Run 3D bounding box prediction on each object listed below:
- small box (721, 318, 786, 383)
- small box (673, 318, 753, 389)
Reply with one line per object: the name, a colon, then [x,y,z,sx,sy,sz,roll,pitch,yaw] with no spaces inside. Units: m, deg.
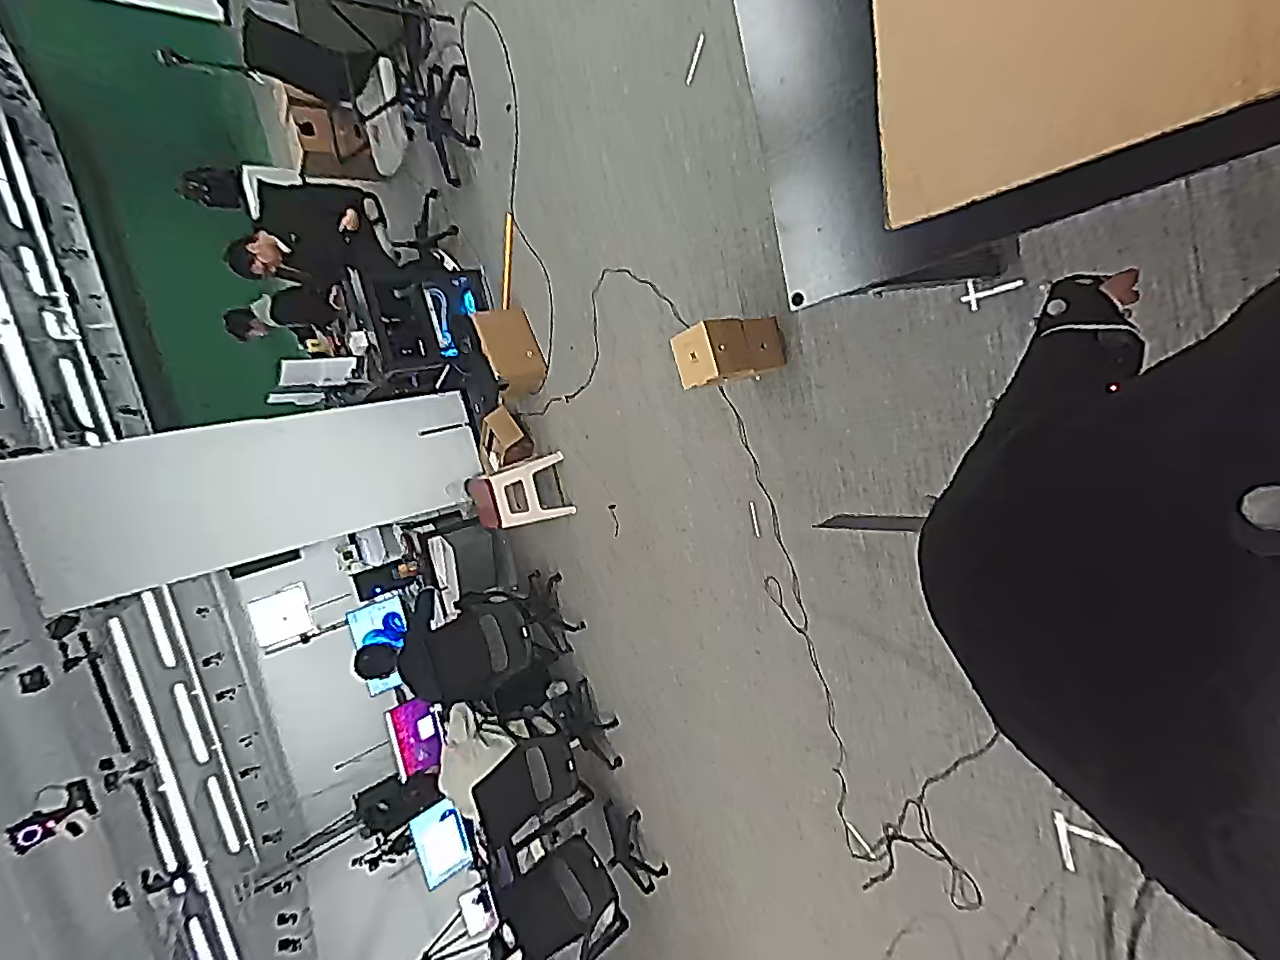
small box: [0.366,-0.441,1.828,0.168,0.176,0.179,-10,97,55]
small box: [0.238,-0.407,1.734,0.168,0.176,0.179,-15,92,54]
